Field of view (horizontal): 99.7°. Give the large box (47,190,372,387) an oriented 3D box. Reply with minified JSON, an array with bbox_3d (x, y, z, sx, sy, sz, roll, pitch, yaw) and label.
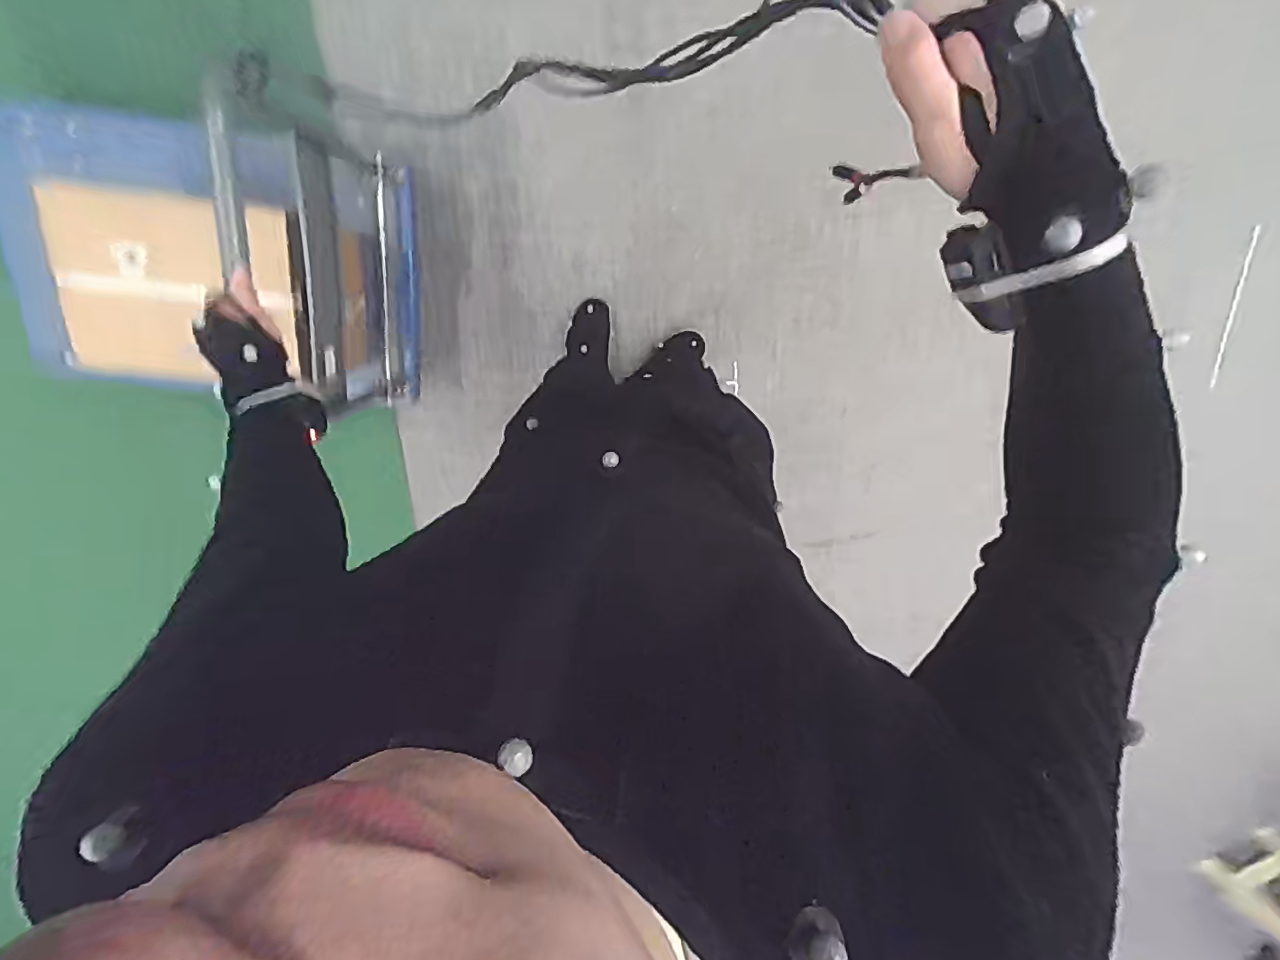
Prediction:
[{"bbox_3d":[-0.830,-0.386,1.119,0.408,0.320,0.320,5,108,-5],"label":"large box"}]
